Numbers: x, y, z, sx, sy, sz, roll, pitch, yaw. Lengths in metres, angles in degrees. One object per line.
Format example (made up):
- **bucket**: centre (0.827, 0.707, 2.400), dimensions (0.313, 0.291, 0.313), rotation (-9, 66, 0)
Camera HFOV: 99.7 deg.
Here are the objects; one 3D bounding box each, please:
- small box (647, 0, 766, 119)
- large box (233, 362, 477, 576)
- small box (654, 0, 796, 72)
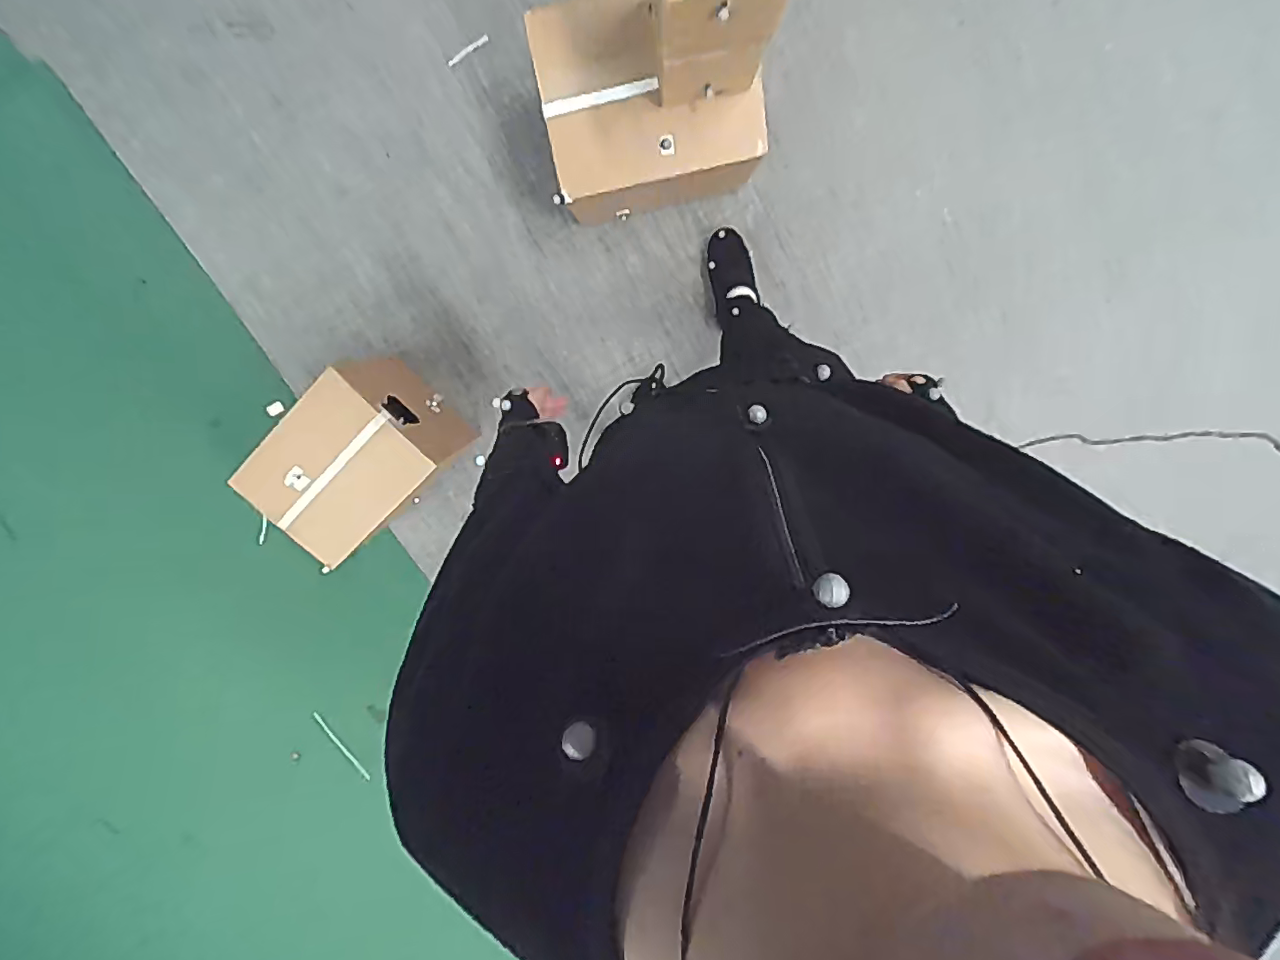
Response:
- **small box**: centre (0.103, -0.739, 0.893), dimensions (0.168, 0.176, 0.179), rotation (-9, 105, 5)
- **large box**: centre (-0.697, -0.043, 1.381), dimensions (0.408, 0.320, 0.320), rotation (-41, 101, 14)
- **small box**: centre (0.107, -0.697, 0.736), dimensions (0.179, 0.176, 0.168), rotation (-8, 104, 5)
